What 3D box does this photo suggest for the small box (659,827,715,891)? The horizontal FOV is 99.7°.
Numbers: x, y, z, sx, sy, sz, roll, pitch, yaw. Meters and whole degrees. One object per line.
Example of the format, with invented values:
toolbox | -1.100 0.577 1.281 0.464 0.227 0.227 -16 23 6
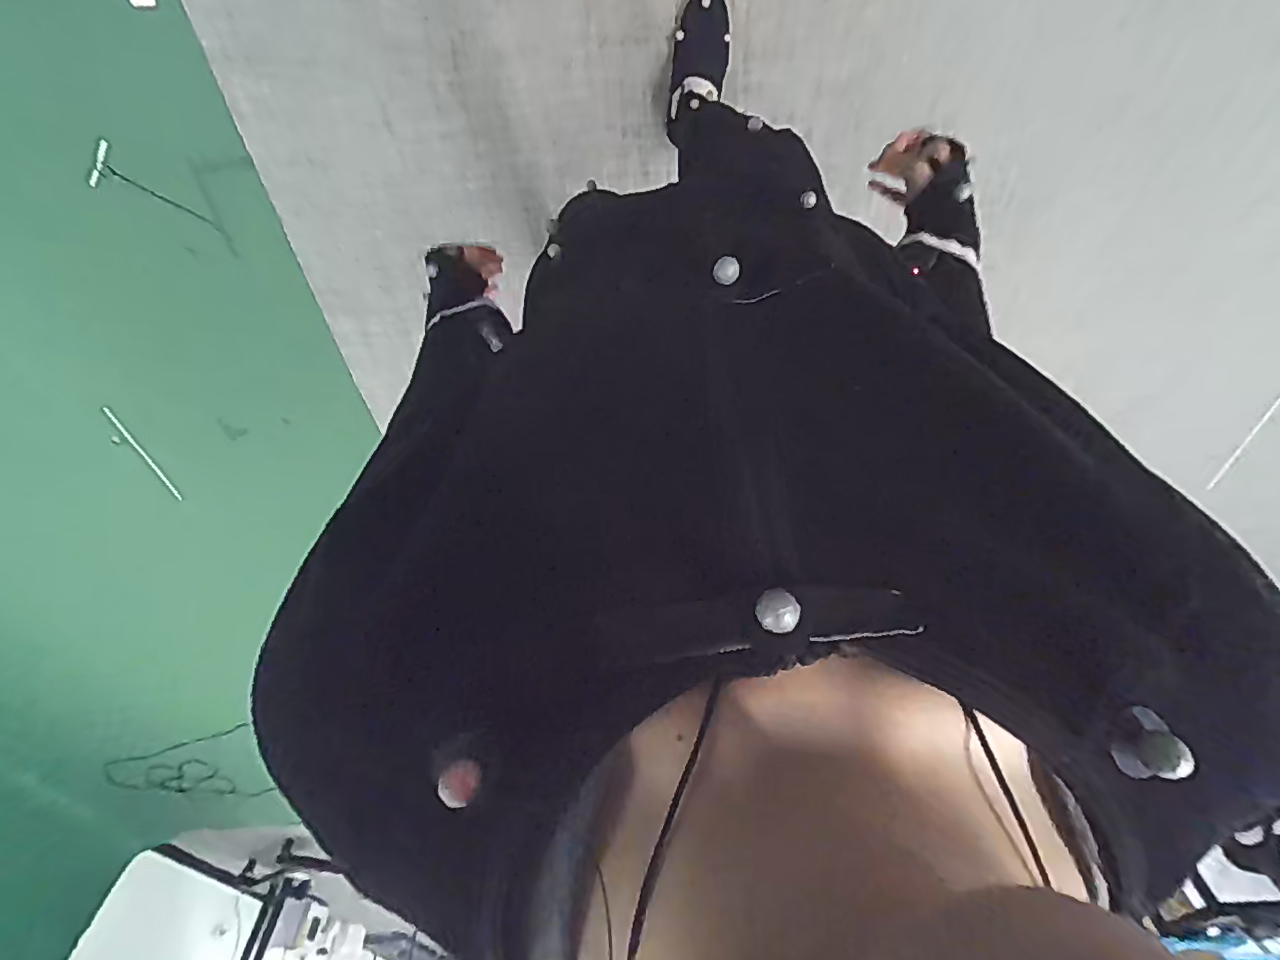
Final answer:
small box | 0.163 1.322 1.871 0.179 0.176 0.168 -5 130 3
